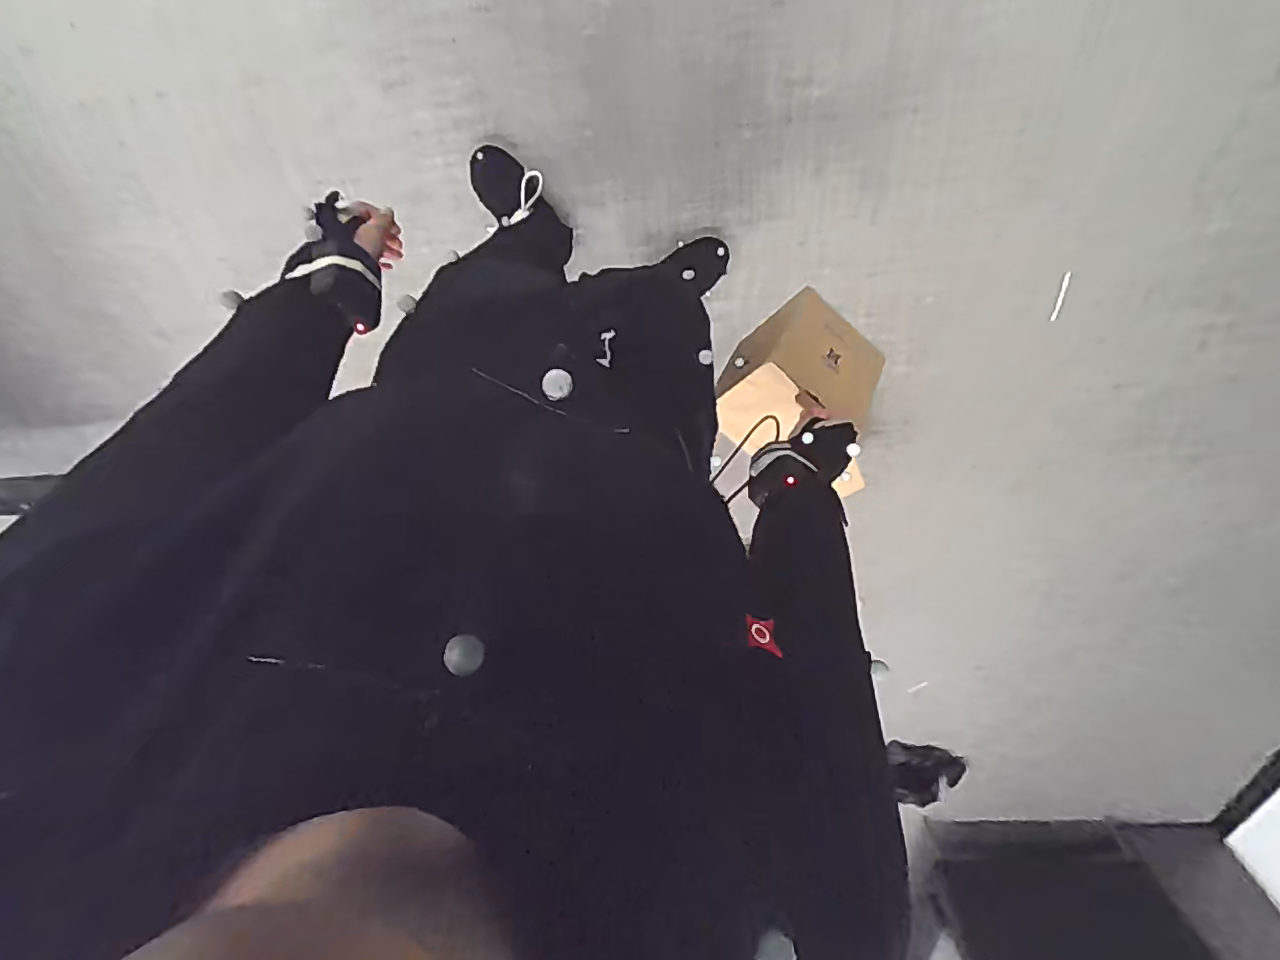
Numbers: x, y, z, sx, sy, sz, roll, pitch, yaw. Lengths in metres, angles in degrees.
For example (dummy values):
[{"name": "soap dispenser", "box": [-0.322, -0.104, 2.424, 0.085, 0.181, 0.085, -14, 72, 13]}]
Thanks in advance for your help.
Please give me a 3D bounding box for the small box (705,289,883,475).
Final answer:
[{"name": "small box", "box": [0.221, -0.134, 0.801, 0.168, 0.179, 0.176, 38, 147, -12]}]
